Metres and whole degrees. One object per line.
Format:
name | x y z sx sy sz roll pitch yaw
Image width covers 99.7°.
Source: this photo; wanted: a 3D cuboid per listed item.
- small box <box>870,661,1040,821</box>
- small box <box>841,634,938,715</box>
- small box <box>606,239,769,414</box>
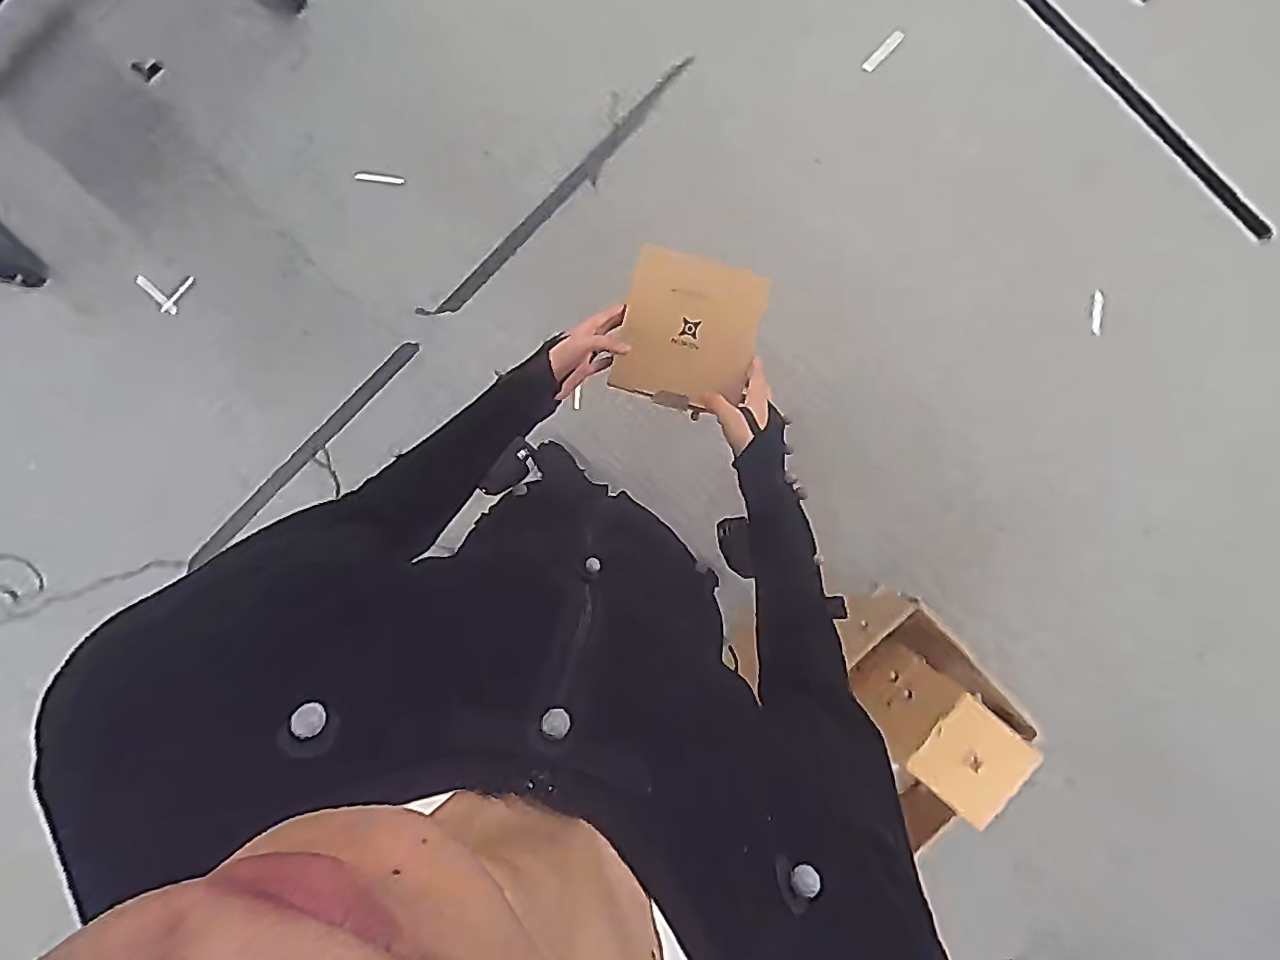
small box | 0.572 0.470 1.007 0.179 0.176 0.168 40 92 -1
small box | 0.576 0.466 1.170 0.179 0.176 0.168 43 91 -3
small box | 0.062 -0.197 0.729 0.168 0.176 0.179 14 101 2
